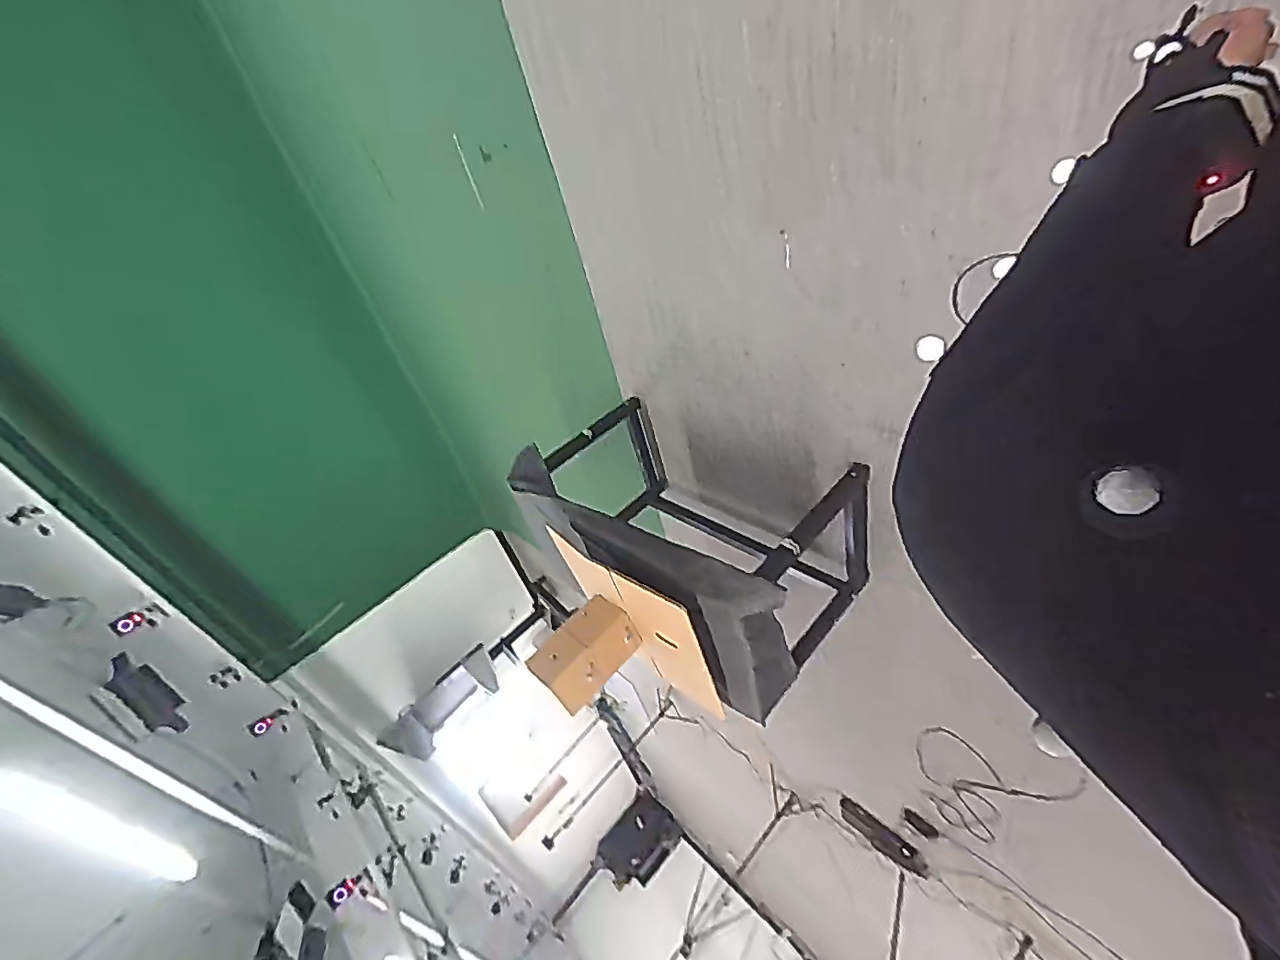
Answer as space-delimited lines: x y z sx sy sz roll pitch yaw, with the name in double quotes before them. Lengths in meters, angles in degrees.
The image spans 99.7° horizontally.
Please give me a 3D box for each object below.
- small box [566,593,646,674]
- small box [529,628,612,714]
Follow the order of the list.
"small box" -0.111 0.508 1.822 0.179 0.176 0.168 16 141 49
"small box" -0.223 0.610 1.758 0.179 0.176 0.168 15 140 50
